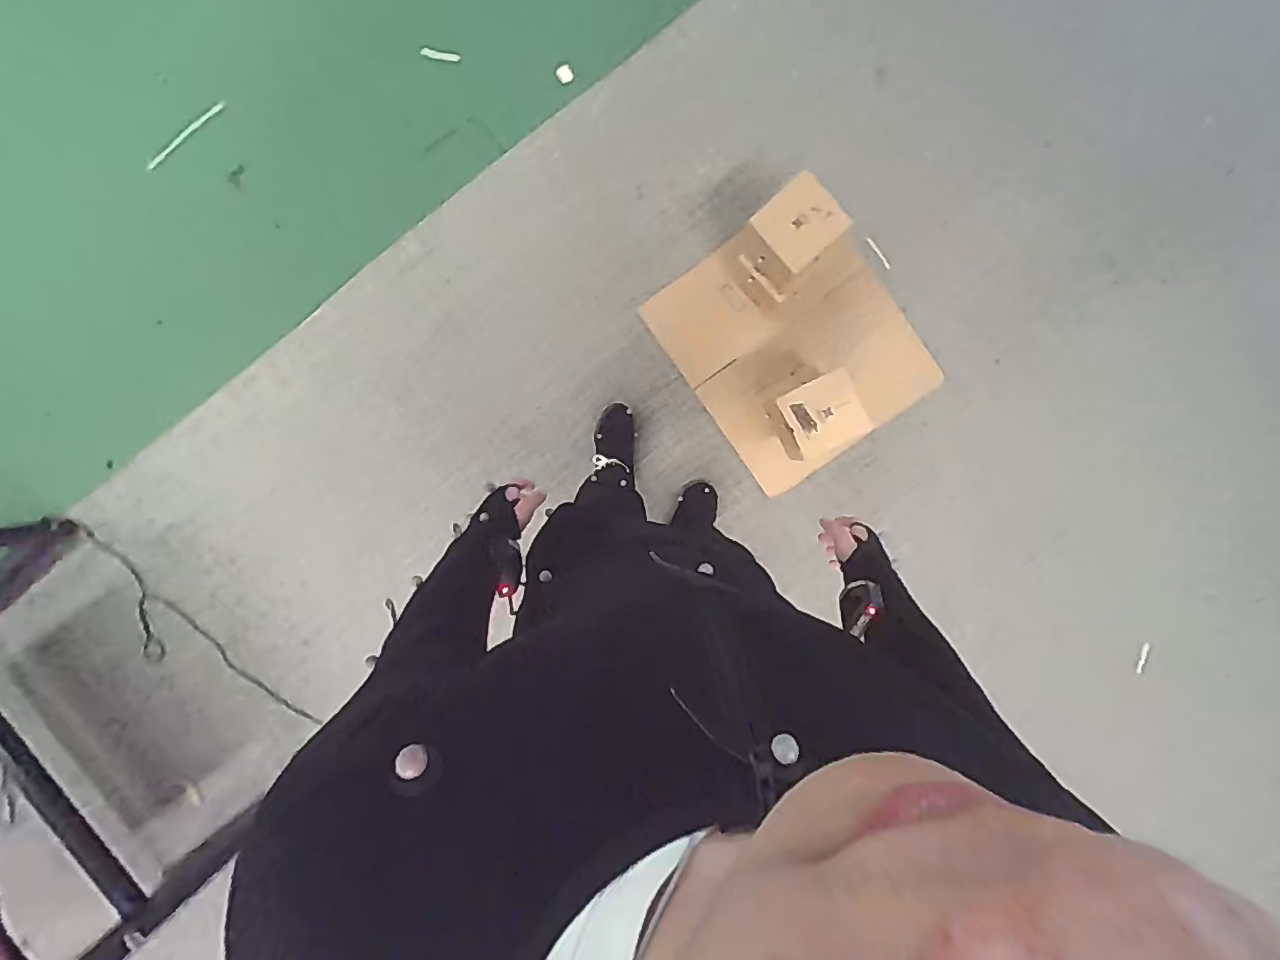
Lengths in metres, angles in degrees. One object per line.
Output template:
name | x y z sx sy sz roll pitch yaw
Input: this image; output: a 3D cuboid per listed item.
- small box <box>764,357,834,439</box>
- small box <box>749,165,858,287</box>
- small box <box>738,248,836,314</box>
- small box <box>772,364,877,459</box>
small box | 0.454 -0.211 1.480 0.179 0.176 0.168 -30 91 5
small box | 0.377 -0.593 1.293 0.179 0.176 0.168 -40 92 5
small box | 0.387 -0.581 1.460 0.179 0.176 0.168 -41 91 5
small box | 0.436 -0.160 1.320 0.179 0.176 0.168 -26 92 4
